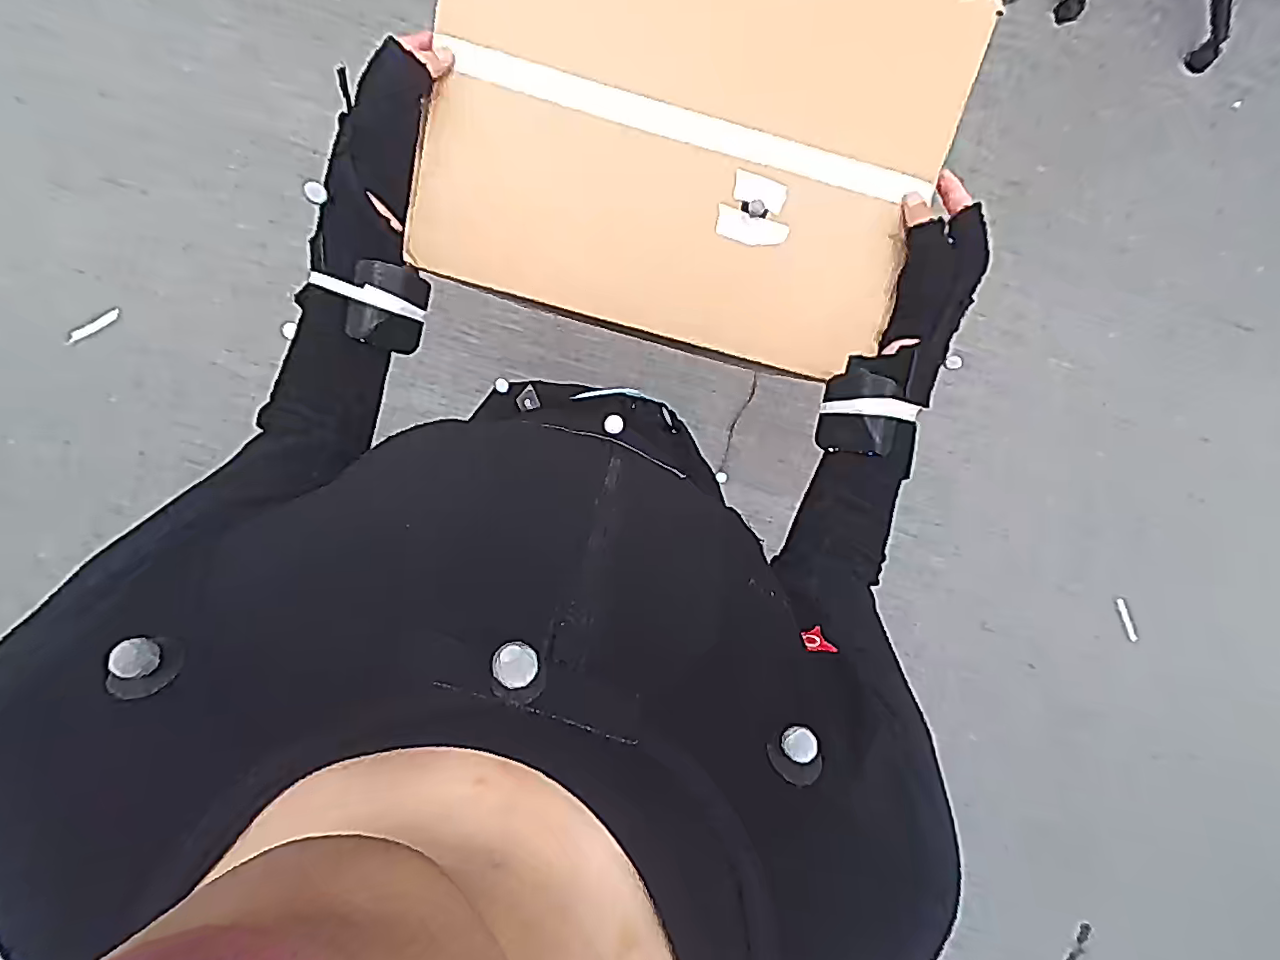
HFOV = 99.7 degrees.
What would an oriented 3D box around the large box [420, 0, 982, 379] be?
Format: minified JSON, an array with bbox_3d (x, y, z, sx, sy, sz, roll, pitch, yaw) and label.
[{"bbox_3d":[0.035,-0.313,0.582,0.408,0.320,0.320,14,104,-6],"label":"large box"}]
